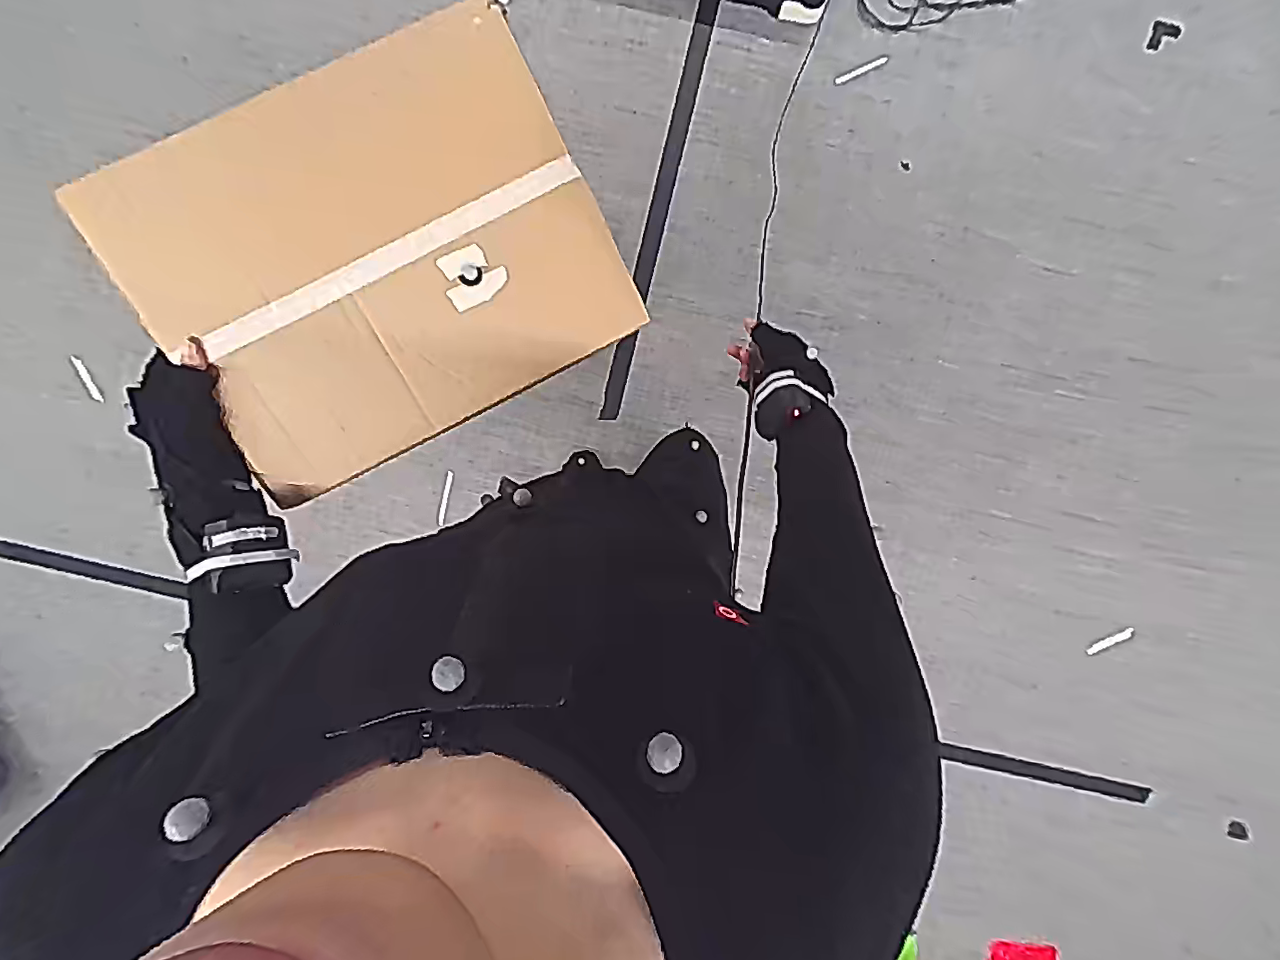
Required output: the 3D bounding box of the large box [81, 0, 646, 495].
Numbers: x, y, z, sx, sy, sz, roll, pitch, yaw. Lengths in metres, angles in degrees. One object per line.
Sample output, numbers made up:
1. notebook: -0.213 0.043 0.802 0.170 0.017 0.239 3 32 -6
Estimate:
1. large box: -0.258 -0.233 0.643 0.408 0.320 0.320 -29 104 -4
